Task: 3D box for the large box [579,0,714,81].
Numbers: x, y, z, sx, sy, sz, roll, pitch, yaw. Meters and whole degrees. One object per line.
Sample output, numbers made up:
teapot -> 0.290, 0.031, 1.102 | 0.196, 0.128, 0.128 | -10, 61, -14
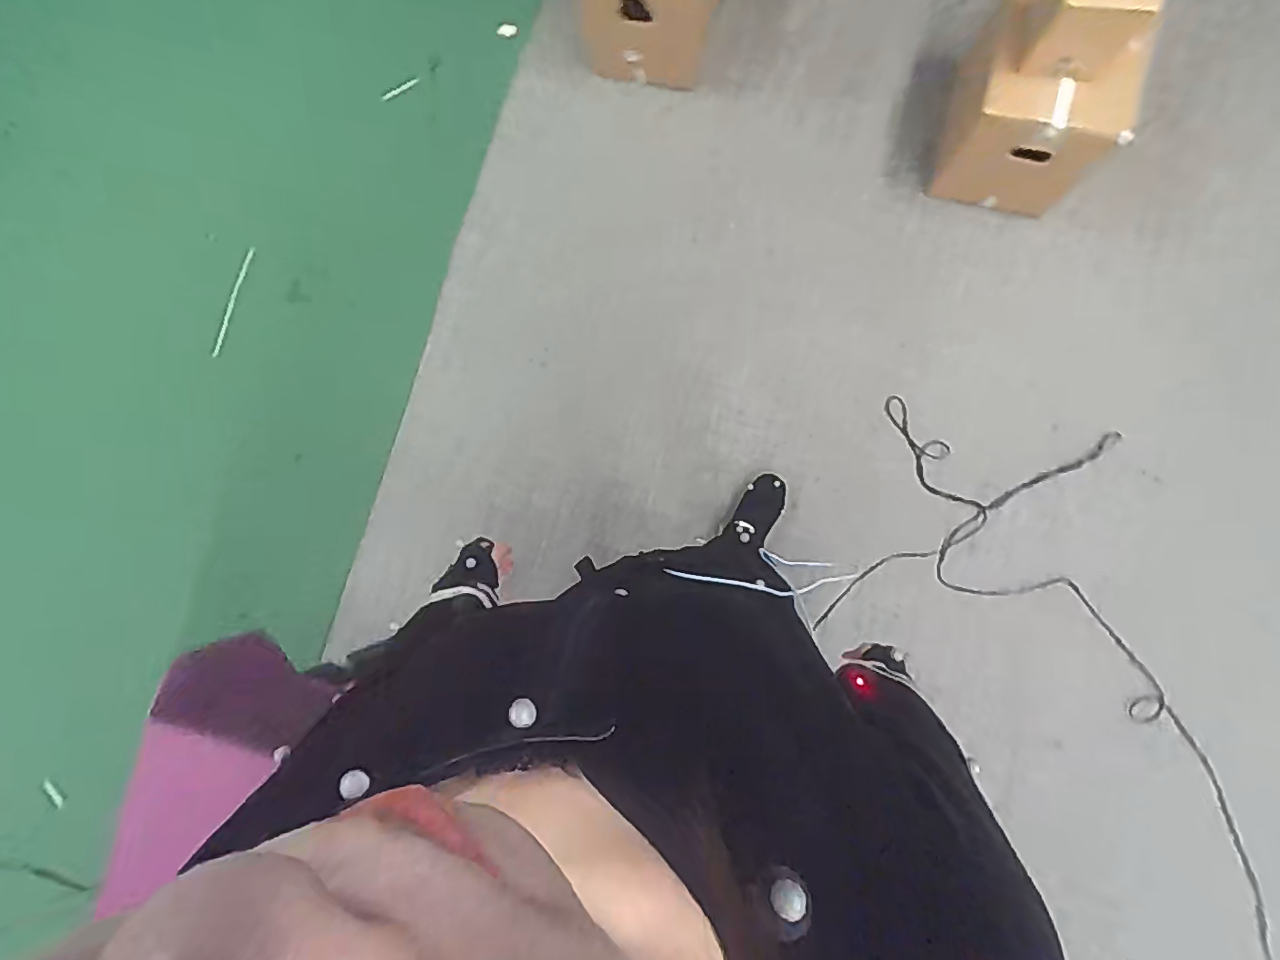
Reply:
large box -> 0.039, -1.391, 1.454 | 0.320, 0.320, 0.408 | 15, 87, 6
